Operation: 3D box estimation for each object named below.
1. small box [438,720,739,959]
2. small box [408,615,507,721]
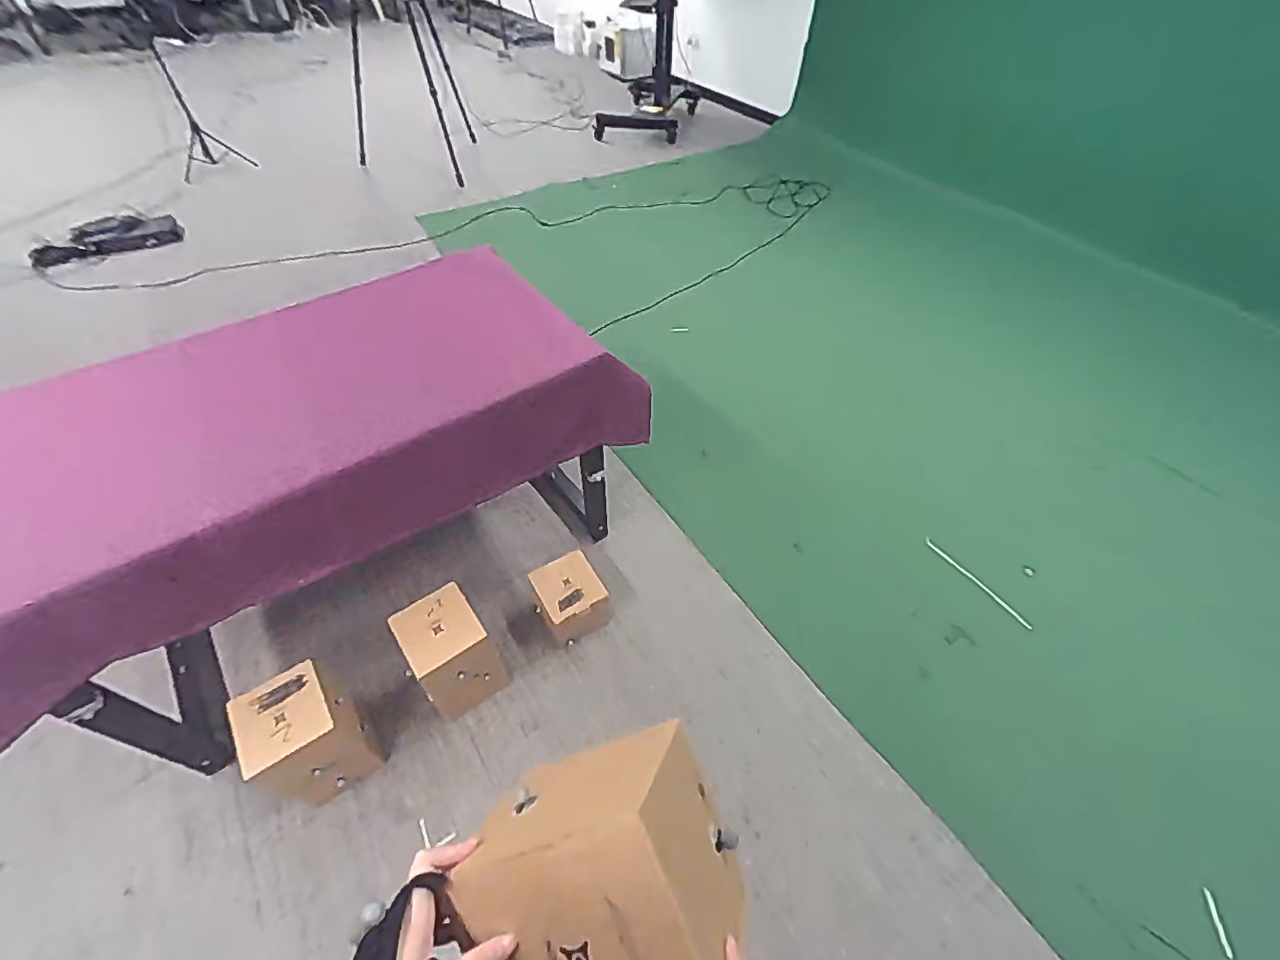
[{"bbox_3d":[-0.030,0.338,0.464,0.179,0.176,0.168,-26,82,13],"label":"small box"},{"bbox_3d":[-0.469,0.494,1.410,0.179,0.176,0.168,-28,56,-23],"label":"small box"}]
